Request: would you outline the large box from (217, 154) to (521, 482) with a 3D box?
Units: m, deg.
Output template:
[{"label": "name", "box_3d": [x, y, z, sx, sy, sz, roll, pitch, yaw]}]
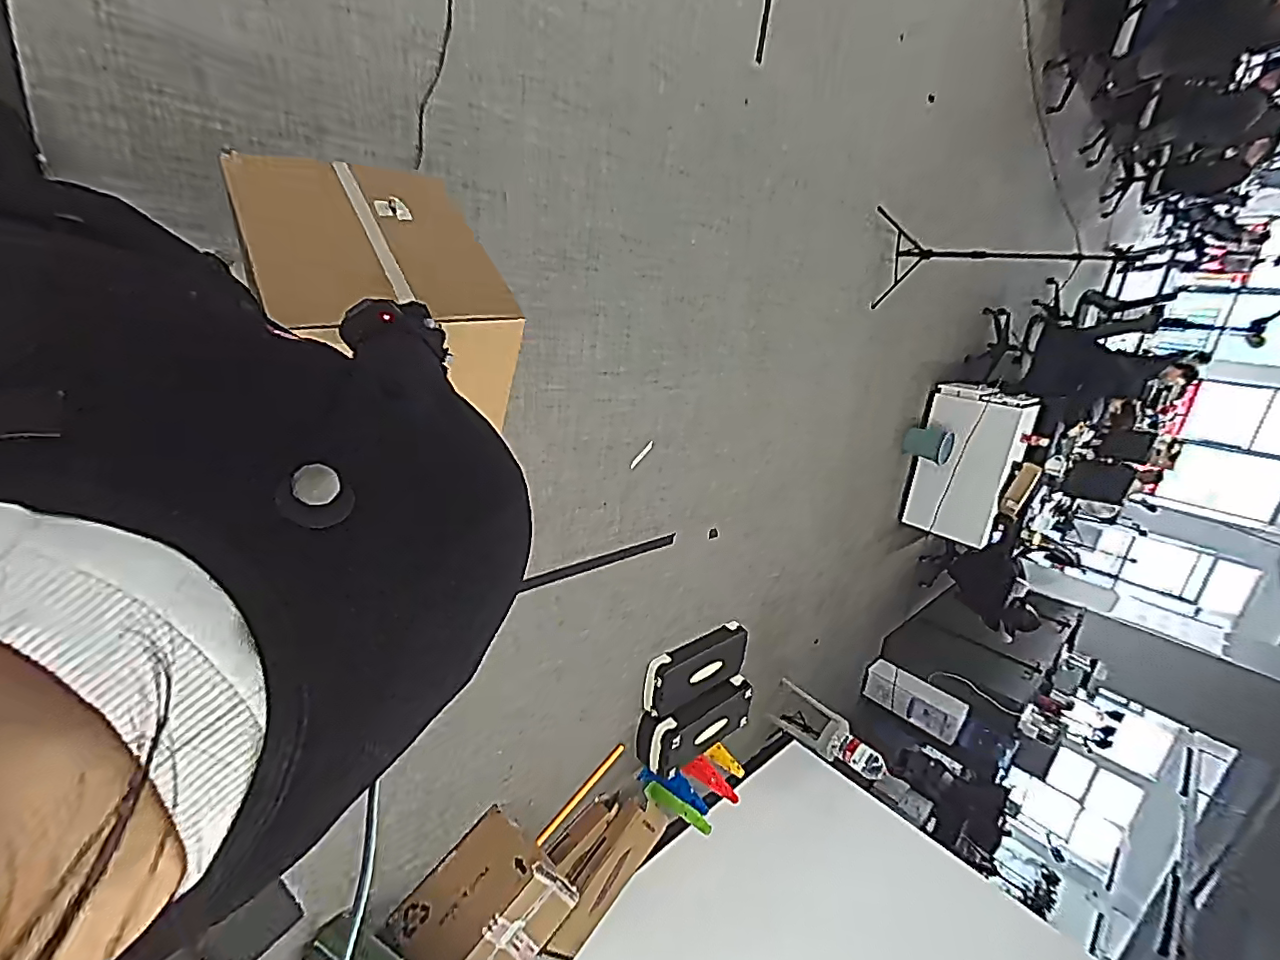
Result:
[{"label": "large box", "box_3d": [-0.440, -0.264, 0.891, 0.320, 0.408, 0.320, -14, 149, -35]}]
